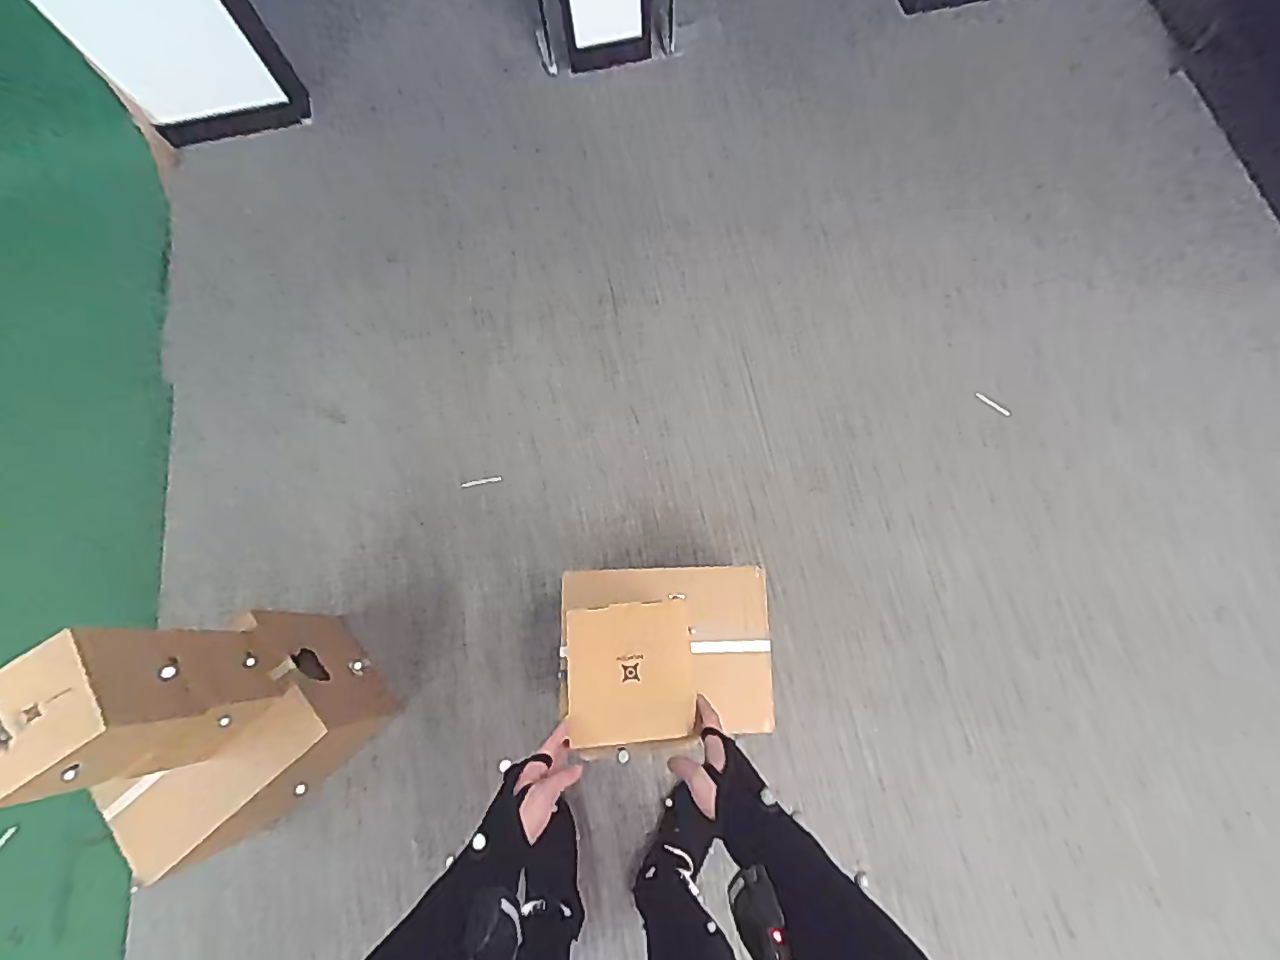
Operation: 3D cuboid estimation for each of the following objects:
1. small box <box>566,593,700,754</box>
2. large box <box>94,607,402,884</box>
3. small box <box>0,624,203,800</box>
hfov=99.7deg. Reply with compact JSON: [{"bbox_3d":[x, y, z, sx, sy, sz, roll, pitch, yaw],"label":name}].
[{"bbox_3d":[-0.010,0.278,0.762,0.168,0.176,0.179,-6,56,-2],"label":"small box"},{"bbox_3d":[-0.826,0.531,1.179,0.408,0.320,0.320,-42,76,-8],"label":"large box"},{"bbox_3d":[-0.821,0.337,0.808,0.179,0.176,0.168,-35,75,-8],"label":"small box"}]
